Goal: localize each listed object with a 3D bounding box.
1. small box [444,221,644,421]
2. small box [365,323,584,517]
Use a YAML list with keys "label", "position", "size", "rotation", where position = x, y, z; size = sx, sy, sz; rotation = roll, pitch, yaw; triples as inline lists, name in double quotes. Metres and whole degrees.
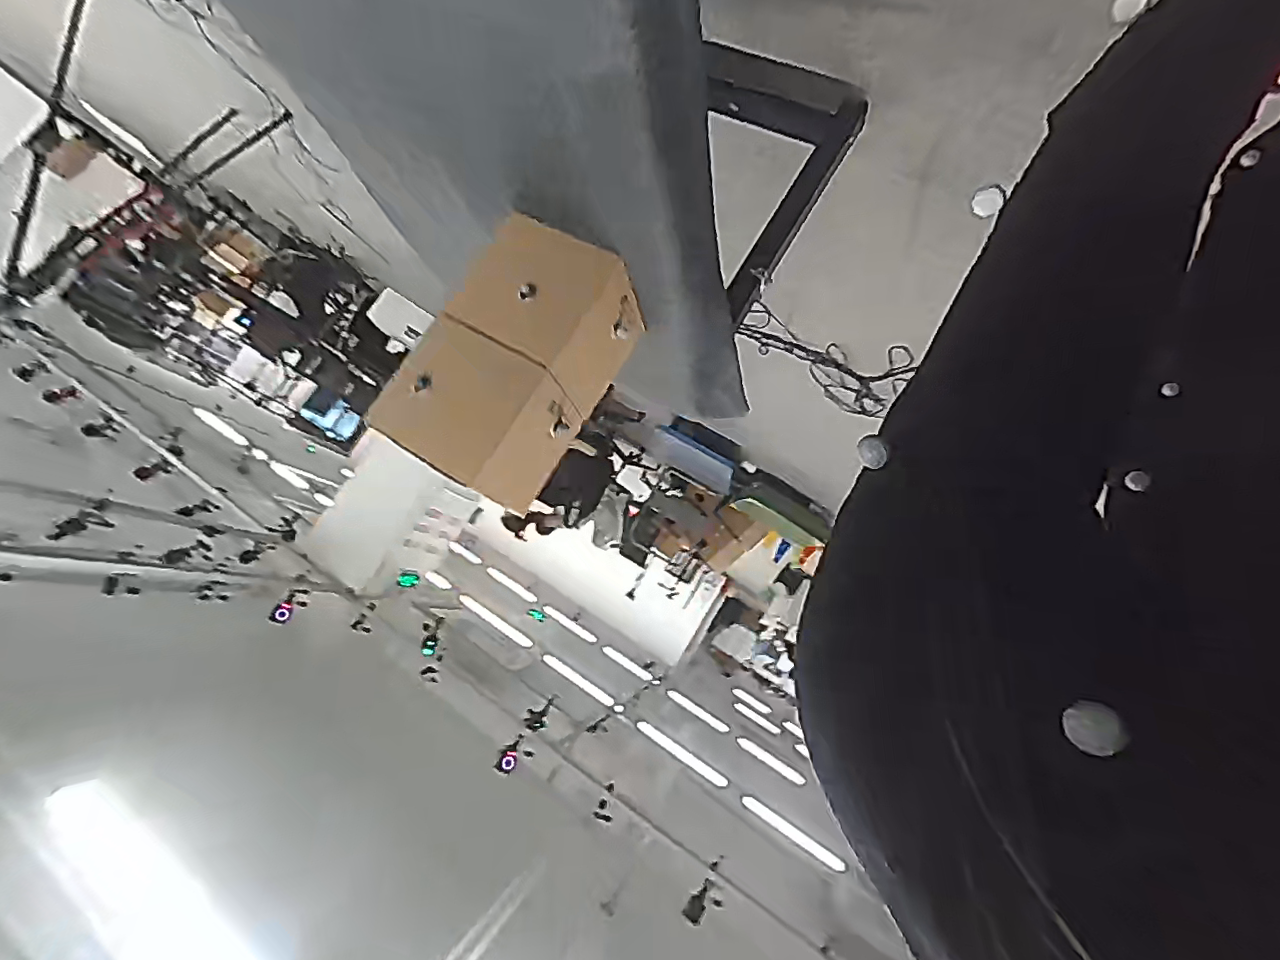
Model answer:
- label: "small box"
  position: [-0.119, -0.214, 0.733]
  size: [0.179, 0.176, 0.168]
  rotation: [29, 171, 17]
- label: "small box"
  position: [-0.203, -0.078, 0.709]
  size: [0.179, 0.176, 0.168]
  rotation: [29, 172, 17]
